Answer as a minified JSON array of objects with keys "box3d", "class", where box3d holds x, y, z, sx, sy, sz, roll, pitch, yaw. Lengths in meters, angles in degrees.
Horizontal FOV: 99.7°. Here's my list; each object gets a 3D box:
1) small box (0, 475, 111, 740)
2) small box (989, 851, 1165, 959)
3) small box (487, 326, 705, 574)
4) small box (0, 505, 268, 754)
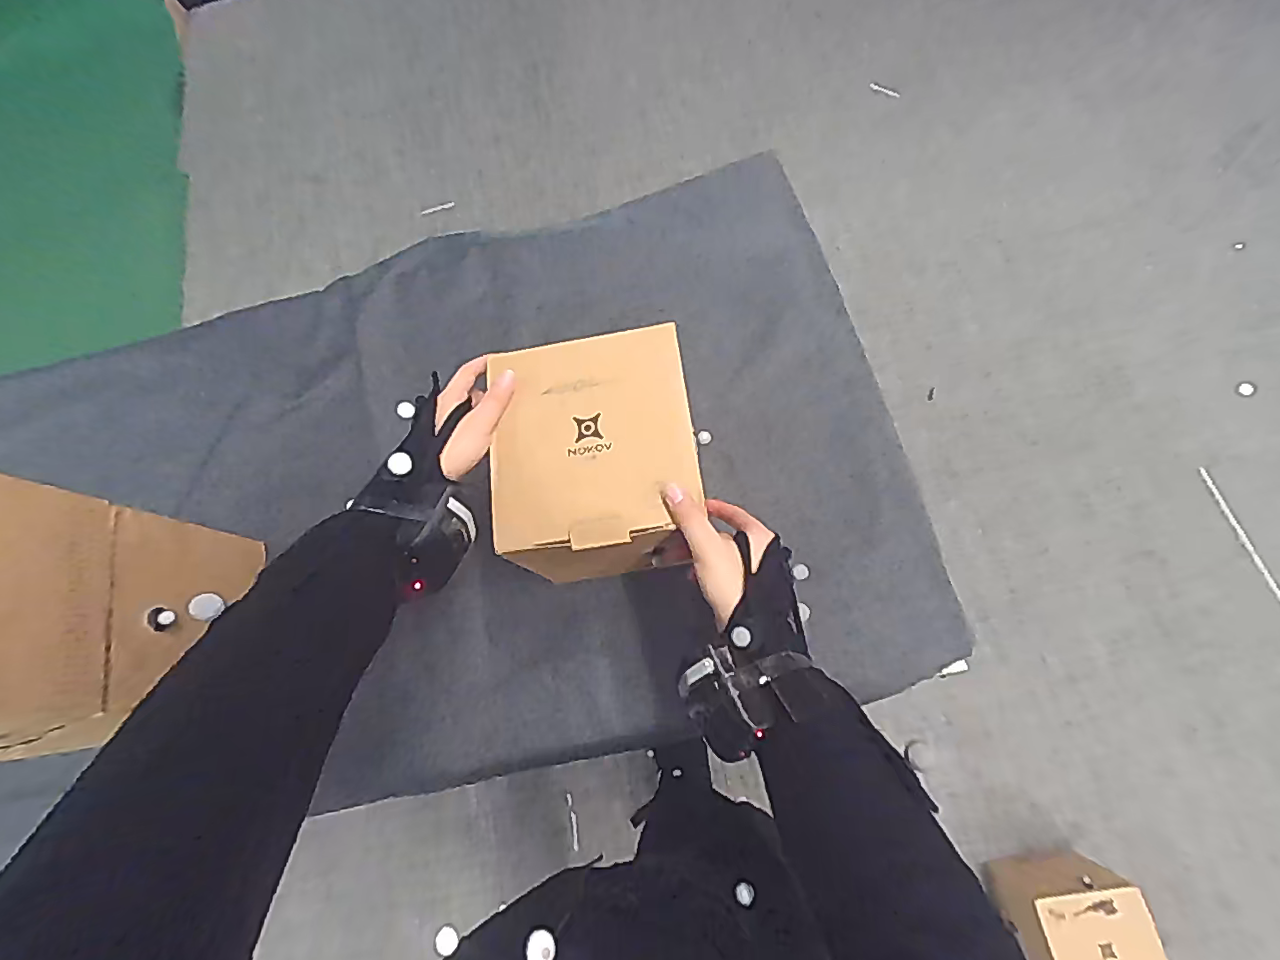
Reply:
[{"box3d":[-0.515,0.093,0.364,0.168,0.176,0.179,-19,70,2],"class":"small box"},{"box3d":[0.736,0.766,0.915,0.168,0.176,0.179,-11,72,5],"class":"small box"},{"box3d":[-0.032,-0.012,0.508,0.168,0.176,0.179,-9,70,4],"class":"small box"},{"box3d":[-0.493,0.146,0.518,0.168,0.176,0.179,-17,69,2],"class":"small box"}]
